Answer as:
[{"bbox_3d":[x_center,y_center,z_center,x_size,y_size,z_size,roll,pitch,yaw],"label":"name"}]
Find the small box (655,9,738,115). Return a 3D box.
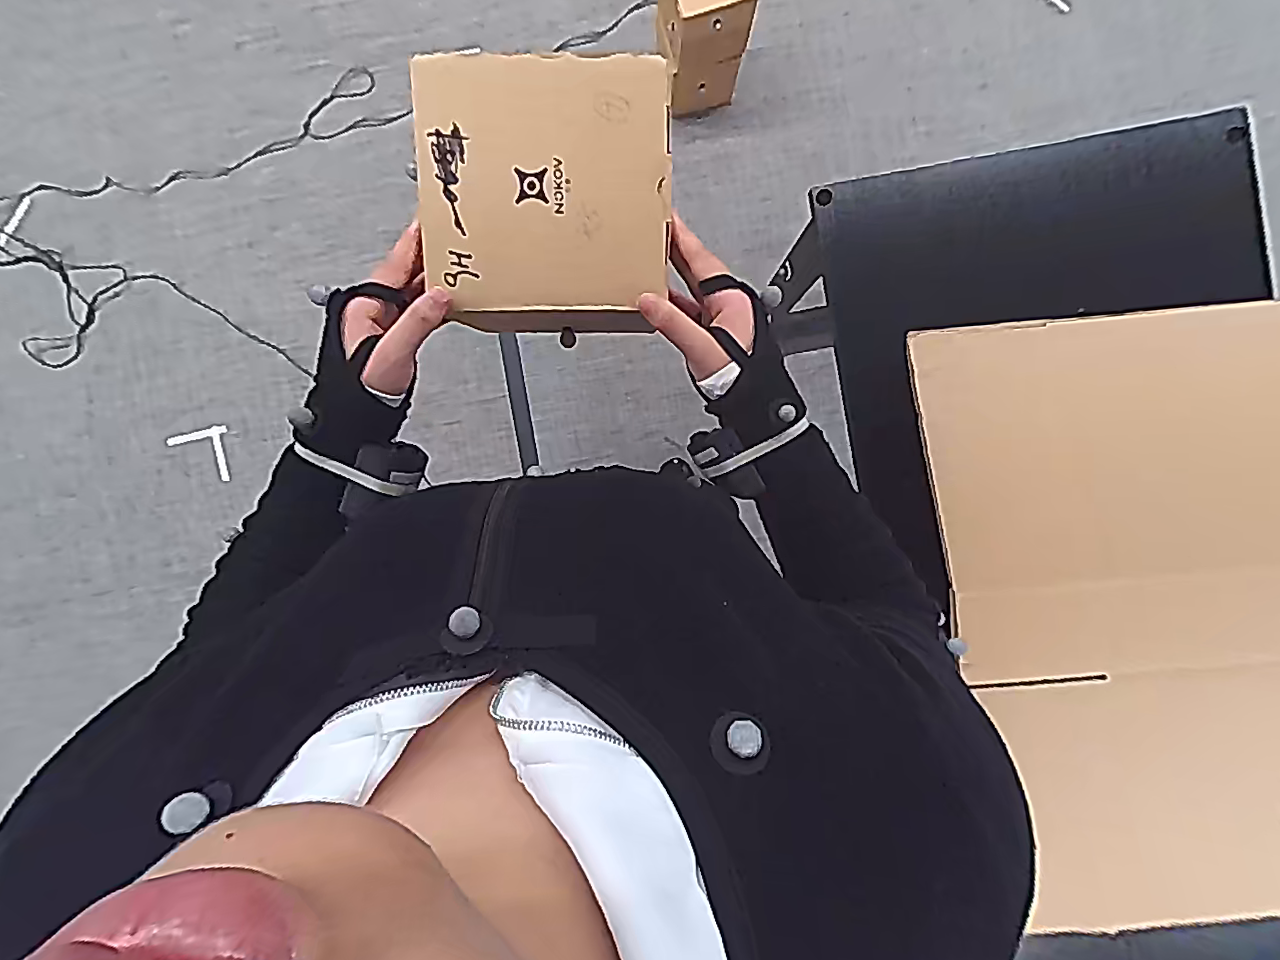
[{"bbox_3d":[0.139,-1.088,1.397,0.179,0.176,0.168,-14,91,1],"label":"small box"}]

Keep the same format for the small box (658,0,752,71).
[{"bbox_3d":[0.143,-1.087,1.234,0.179,0.176,0.168,-17,91,0],"label":"small box"}]

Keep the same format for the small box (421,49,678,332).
[{"bbox_3d":[-0.066,-0.220,0.458,0.179,0.176,0.168,-1,99,-3],"label":"small box"}]
